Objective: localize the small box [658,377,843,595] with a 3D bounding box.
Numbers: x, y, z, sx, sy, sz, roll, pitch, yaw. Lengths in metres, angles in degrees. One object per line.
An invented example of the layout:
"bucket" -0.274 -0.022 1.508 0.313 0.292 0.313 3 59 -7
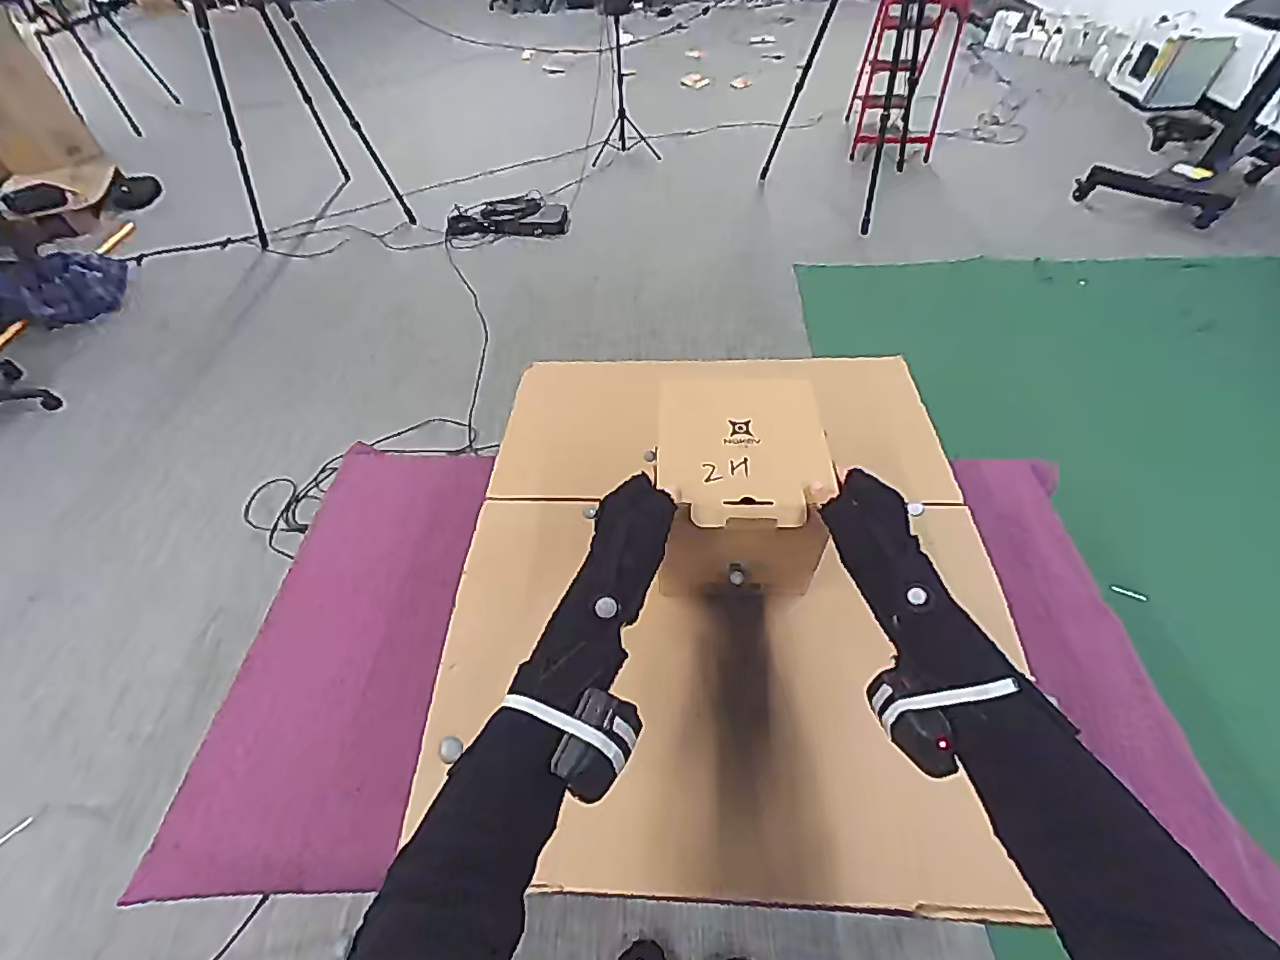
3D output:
"small box" 0.105 0.007 0.594 0.168 0.176 0.179 0 51 3
